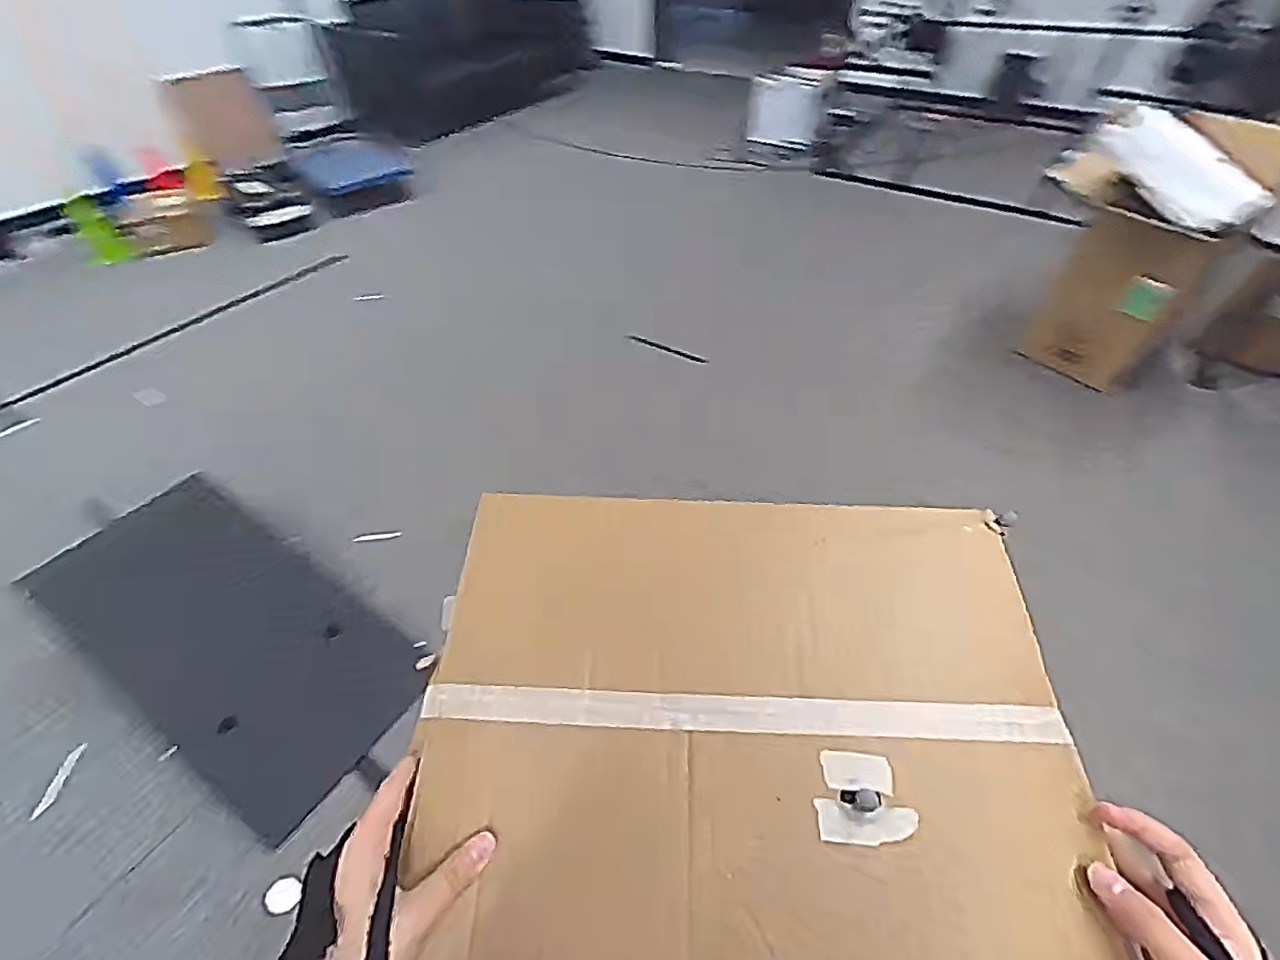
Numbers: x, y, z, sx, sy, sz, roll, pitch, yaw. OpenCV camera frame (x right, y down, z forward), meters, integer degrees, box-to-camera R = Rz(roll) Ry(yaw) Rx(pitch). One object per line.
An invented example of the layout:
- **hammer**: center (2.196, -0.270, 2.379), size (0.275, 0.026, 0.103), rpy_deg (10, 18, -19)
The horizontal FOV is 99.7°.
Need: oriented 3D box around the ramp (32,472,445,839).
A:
- **ramp**: center (-1.049, 0.380, 1.429), size (0.991, 0.206, 0.509), rpy_deg (25, 51, 21)
